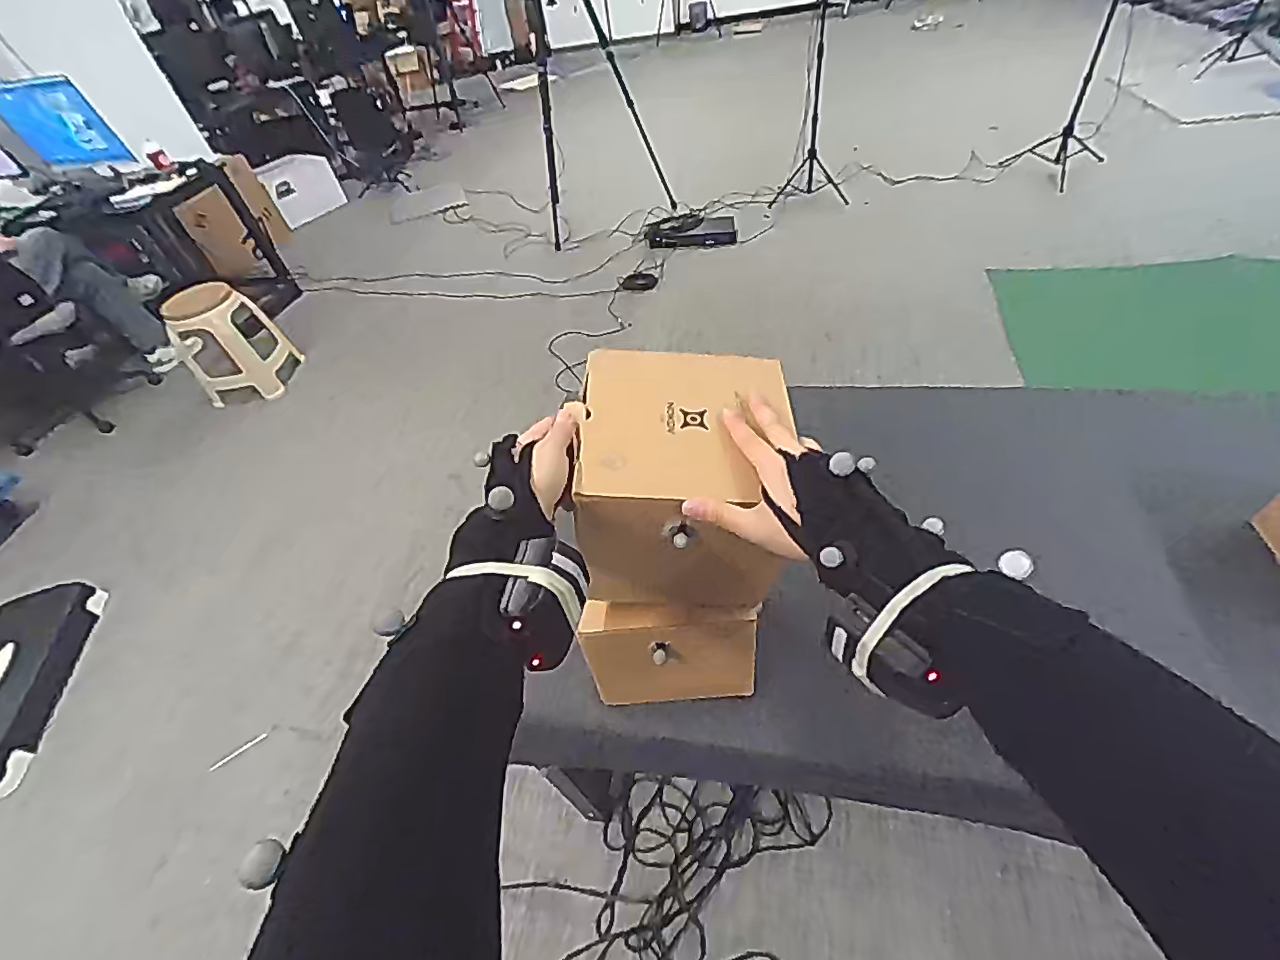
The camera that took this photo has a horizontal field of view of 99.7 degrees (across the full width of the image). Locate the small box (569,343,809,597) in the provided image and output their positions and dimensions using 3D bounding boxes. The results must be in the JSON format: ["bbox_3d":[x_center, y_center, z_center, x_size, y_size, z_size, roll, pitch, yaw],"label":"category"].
[{"bbox_3d":[0.032,-0.003,0.495,0.179,0.176,0.168,3,54,-4],"label":"small box"}]

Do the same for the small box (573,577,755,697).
[{"bbox_3d":[0.032,0.135,0.622,0.179,0.176,0.168,-6,45,6],"label":"small box"}]
